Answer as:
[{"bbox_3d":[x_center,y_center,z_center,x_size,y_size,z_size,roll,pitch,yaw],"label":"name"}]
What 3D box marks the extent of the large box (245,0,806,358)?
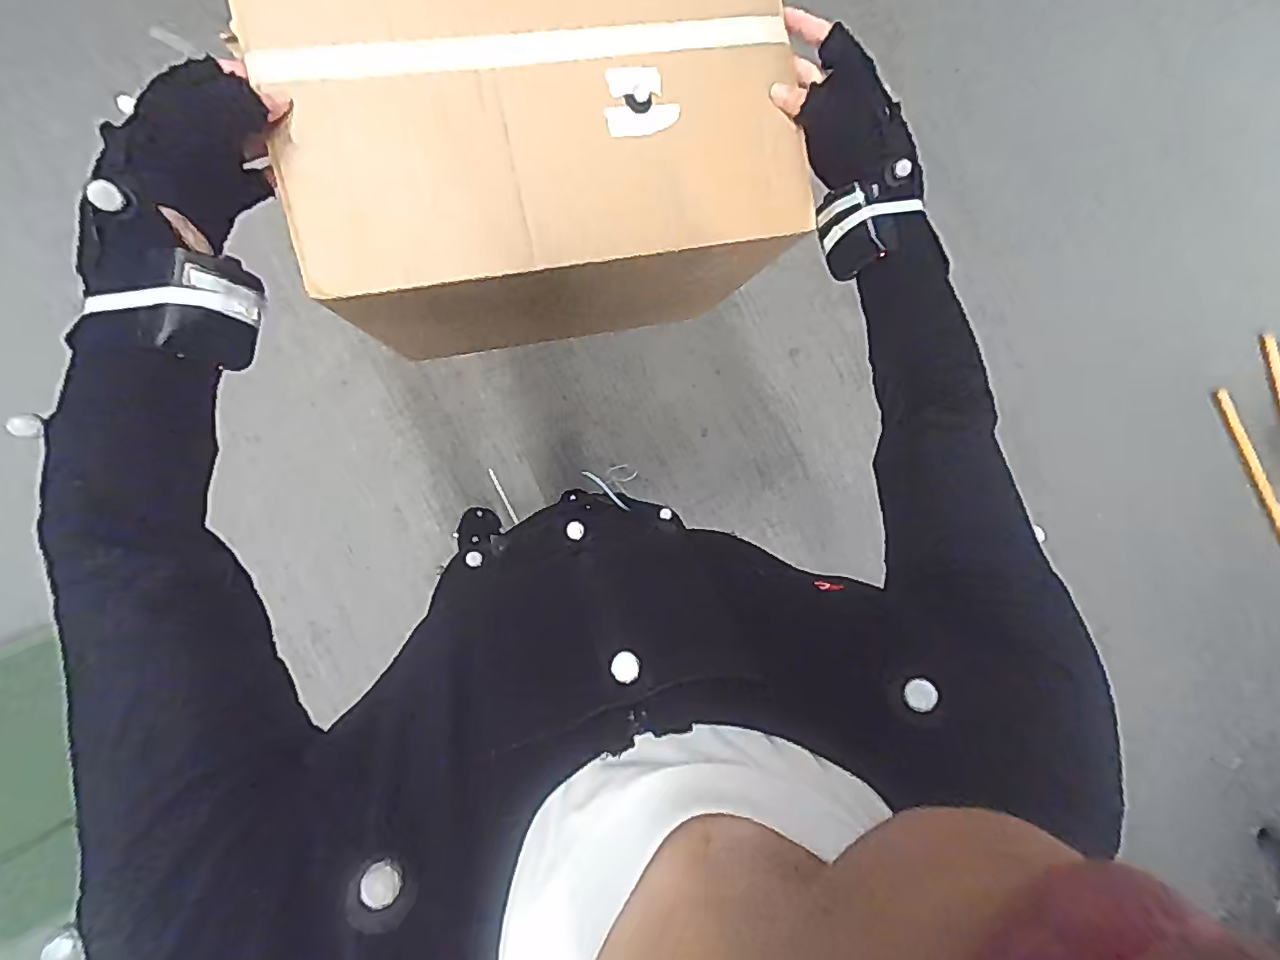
[{"bbox_3d":[-0.108,-0.339,0.562,0.408,0.320,0.320,-14,97,-11],"label":"large box"}]
